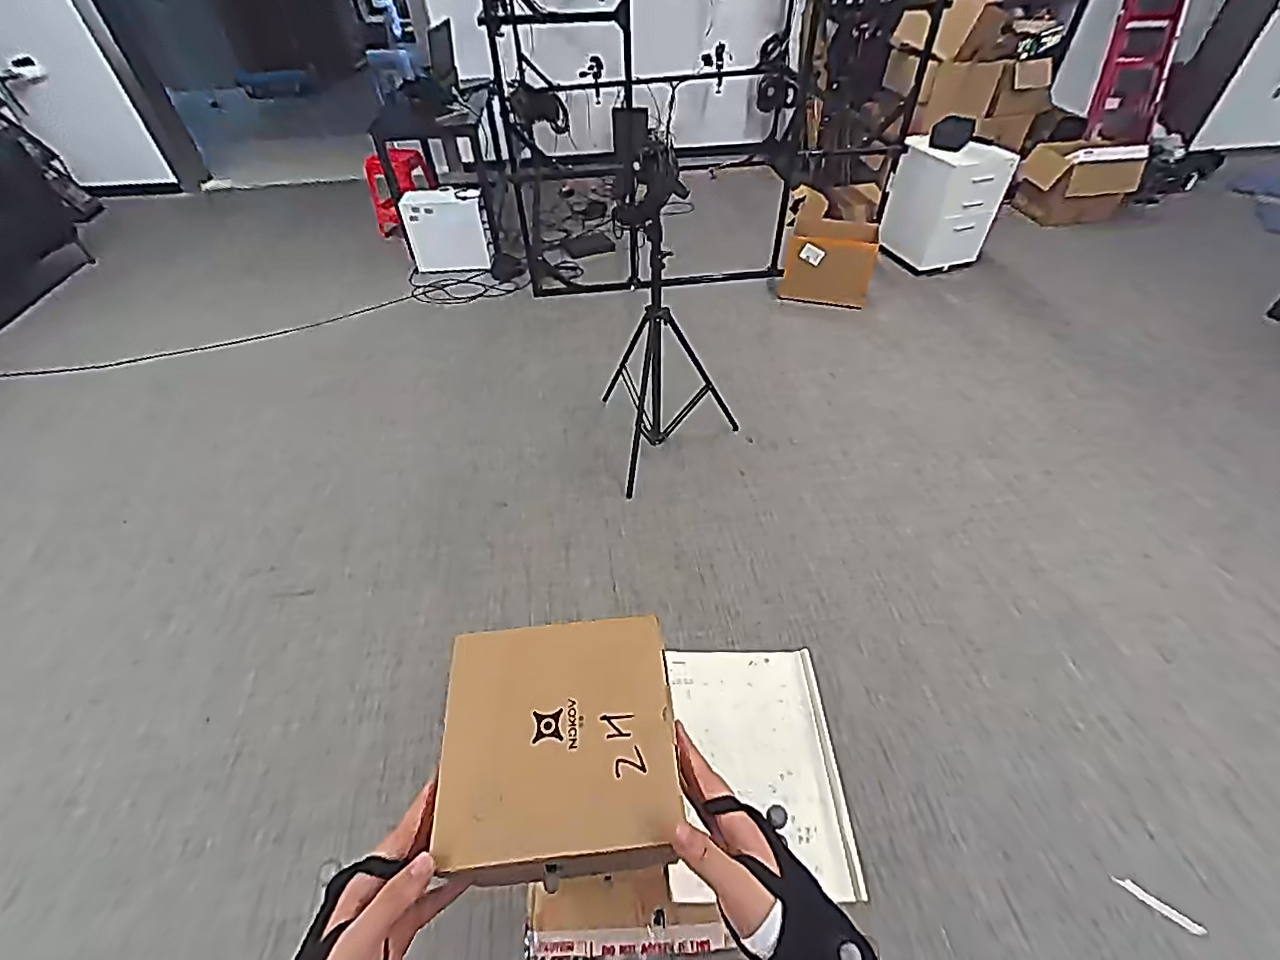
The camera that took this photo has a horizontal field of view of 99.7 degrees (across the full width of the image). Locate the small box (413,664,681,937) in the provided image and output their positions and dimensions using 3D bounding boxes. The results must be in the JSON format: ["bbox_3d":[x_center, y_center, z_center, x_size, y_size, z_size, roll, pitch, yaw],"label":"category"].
[{"bbox_3d":[-0.063,0.272,0.455,0.179,0.176,0.168,-4,51,-3],"label":"small box"}]

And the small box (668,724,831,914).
[{"bbox_3d":[0.117,0.426,0.679,0.168,0.176,0.179,0,48,-1],"label":"small box"}]
